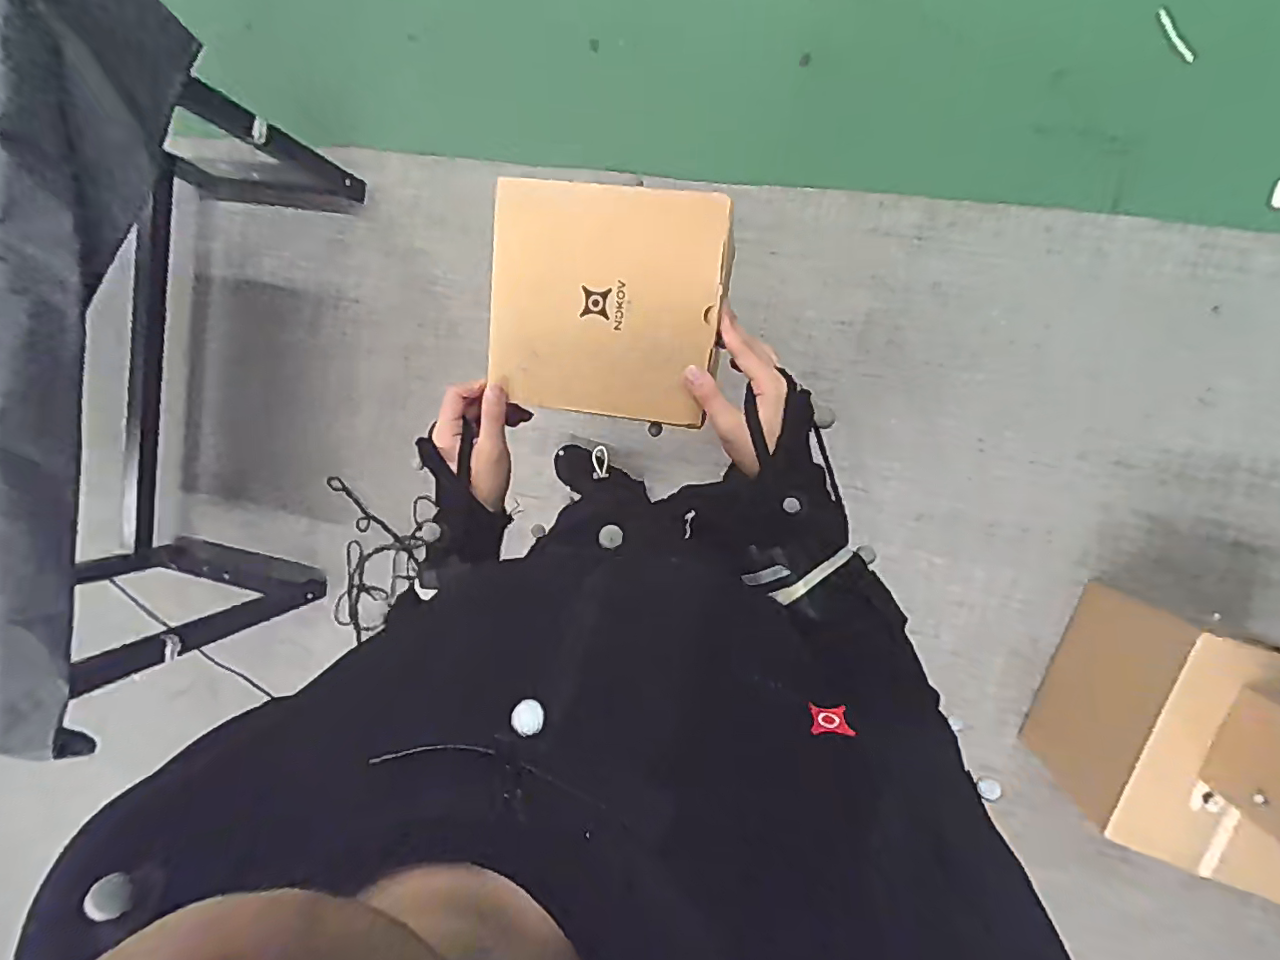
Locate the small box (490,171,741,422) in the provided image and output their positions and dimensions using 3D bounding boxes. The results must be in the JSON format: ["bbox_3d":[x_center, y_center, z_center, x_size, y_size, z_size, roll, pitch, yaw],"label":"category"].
[{"bbox_3d":[-0.012,-0.150,0.477,0.179,0.176,0.168,9,103,7],"label":"small box"}]

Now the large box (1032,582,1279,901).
[{"bbox_3d":[1.044,0.460,1.024,0.320,0.320,0.408,18,100,11],"label":"large box"}]
